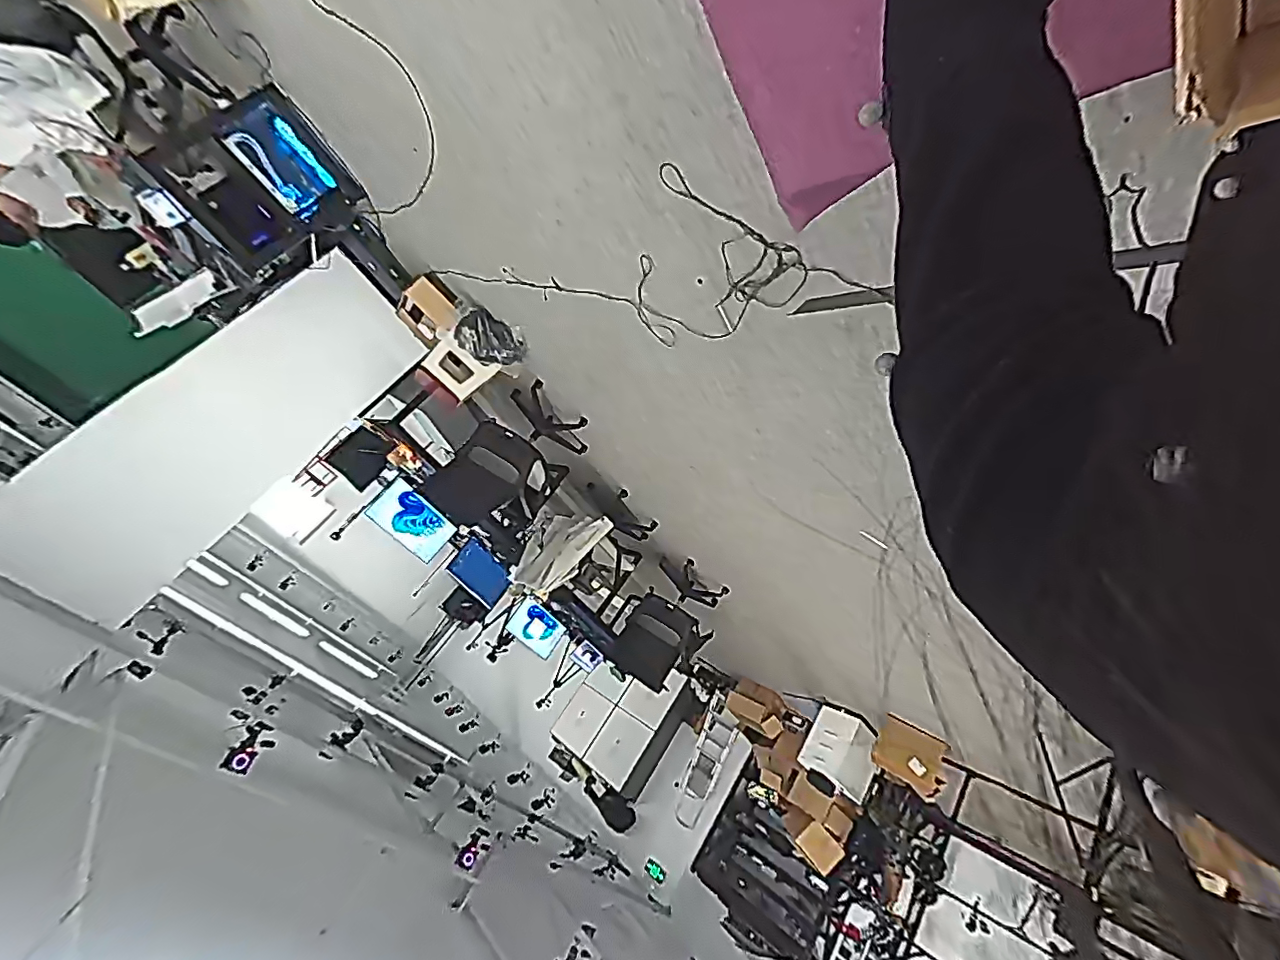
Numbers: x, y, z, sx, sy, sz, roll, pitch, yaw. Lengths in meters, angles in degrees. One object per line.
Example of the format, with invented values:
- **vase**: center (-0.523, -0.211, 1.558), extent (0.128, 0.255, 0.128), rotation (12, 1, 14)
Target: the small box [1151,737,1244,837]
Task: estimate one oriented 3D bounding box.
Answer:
- **small box**: center (1.612, 0.881, 1.565), extent (0.168, 0.176, 0.179), rotation (12, 145, 47)
